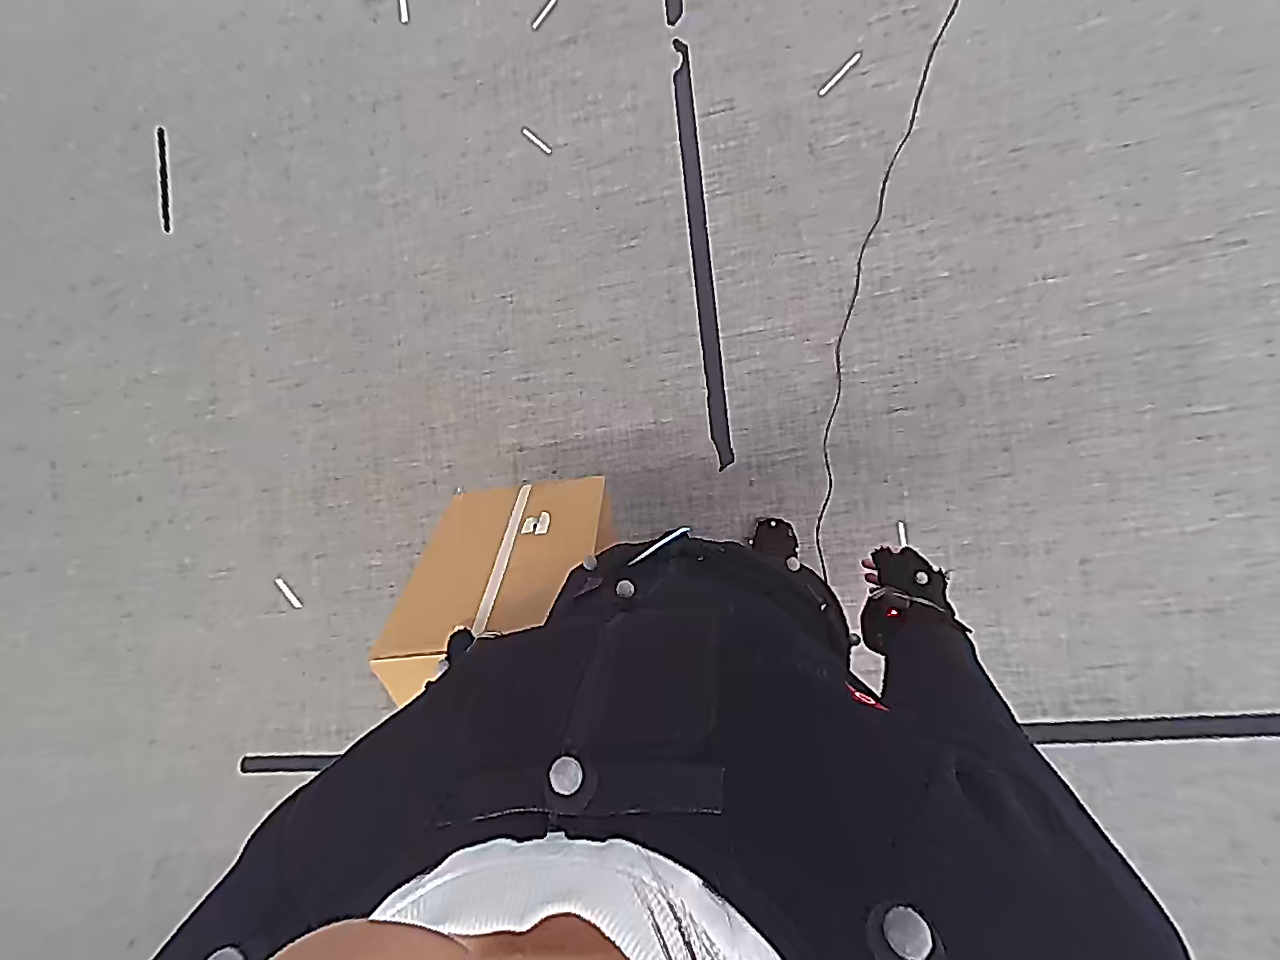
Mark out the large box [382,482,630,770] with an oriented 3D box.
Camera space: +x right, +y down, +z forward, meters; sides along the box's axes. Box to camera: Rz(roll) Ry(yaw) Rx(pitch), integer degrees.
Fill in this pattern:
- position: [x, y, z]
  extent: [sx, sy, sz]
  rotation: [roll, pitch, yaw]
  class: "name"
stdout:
- position: [-0.197, 0.254, 1.001]
  extent: [0.320, 0.408, 0.320]
  rotation: [-6, 123, 6]
  class: "large box"
